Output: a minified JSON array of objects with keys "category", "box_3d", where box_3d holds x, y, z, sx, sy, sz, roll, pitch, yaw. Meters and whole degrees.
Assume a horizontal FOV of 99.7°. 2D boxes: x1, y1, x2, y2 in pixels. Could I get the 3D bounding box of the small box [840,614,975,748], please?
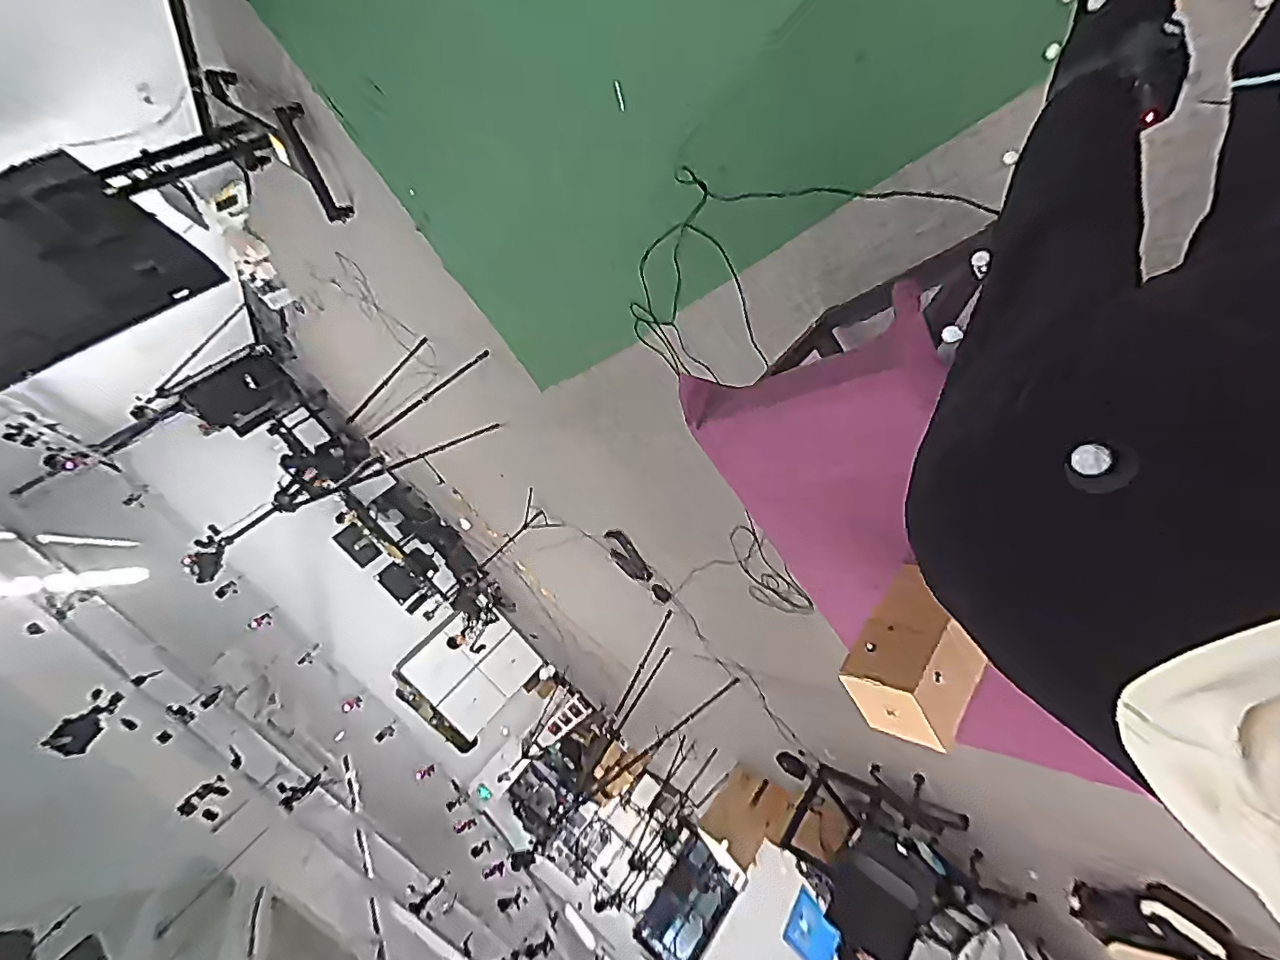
[{"category":"small box","box_3d":[0.552,0.402,1.113,0.168,0.176,0.179,-5,124,56]}]
